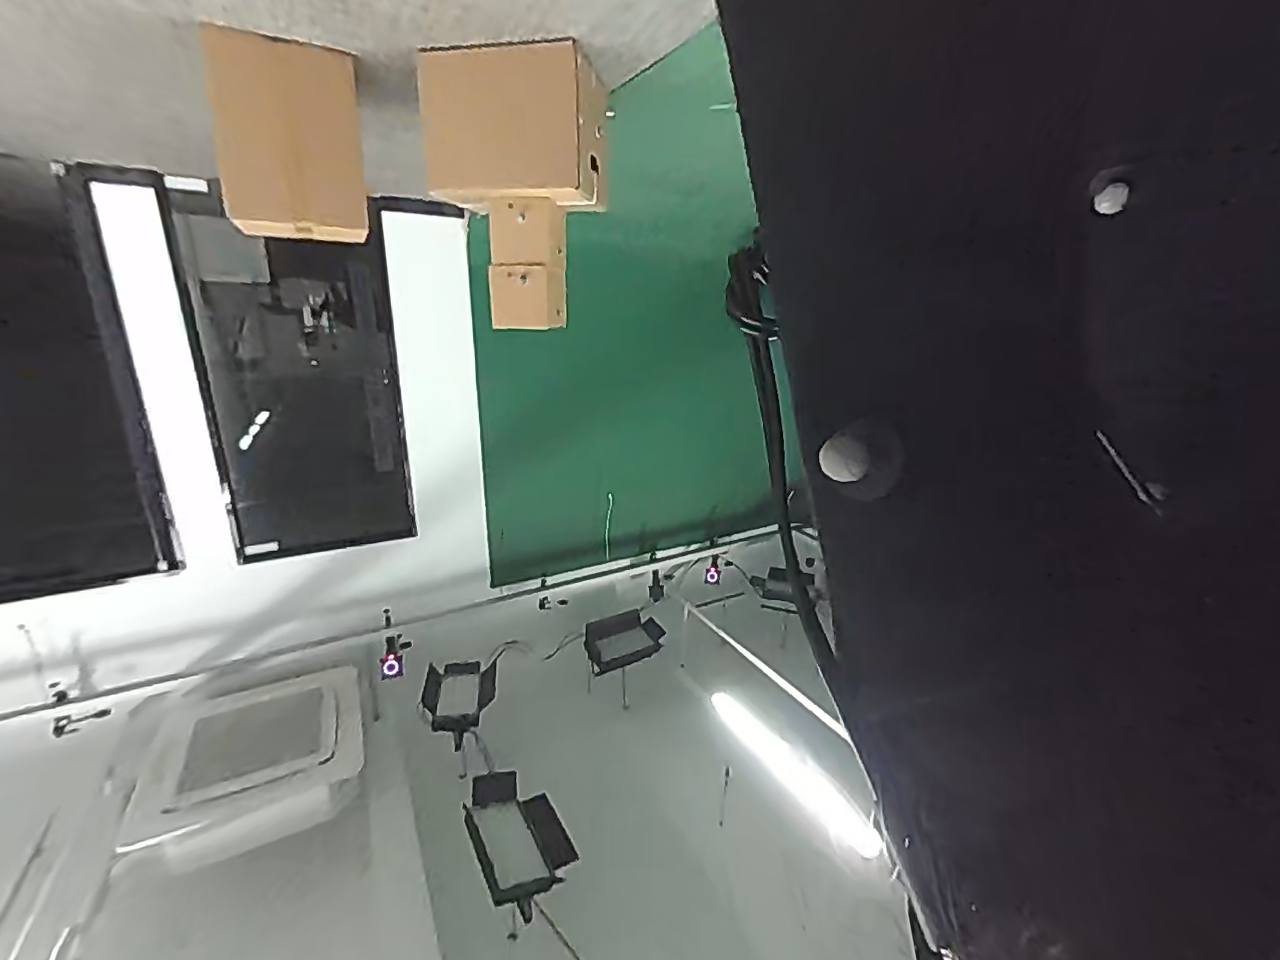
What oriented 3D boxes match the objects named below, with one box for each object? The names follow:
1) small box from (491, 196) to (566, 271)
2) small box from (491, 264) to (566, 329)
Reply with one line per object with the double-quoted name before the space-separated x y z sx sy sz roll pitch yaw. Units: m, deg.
"small box" -0.306 -0.681 1.507 0.168 0.176 0.179 3 -164 6
"small box" -0.314 -0.524 1.549 0.168 0.176 0.179 3 -163 9
